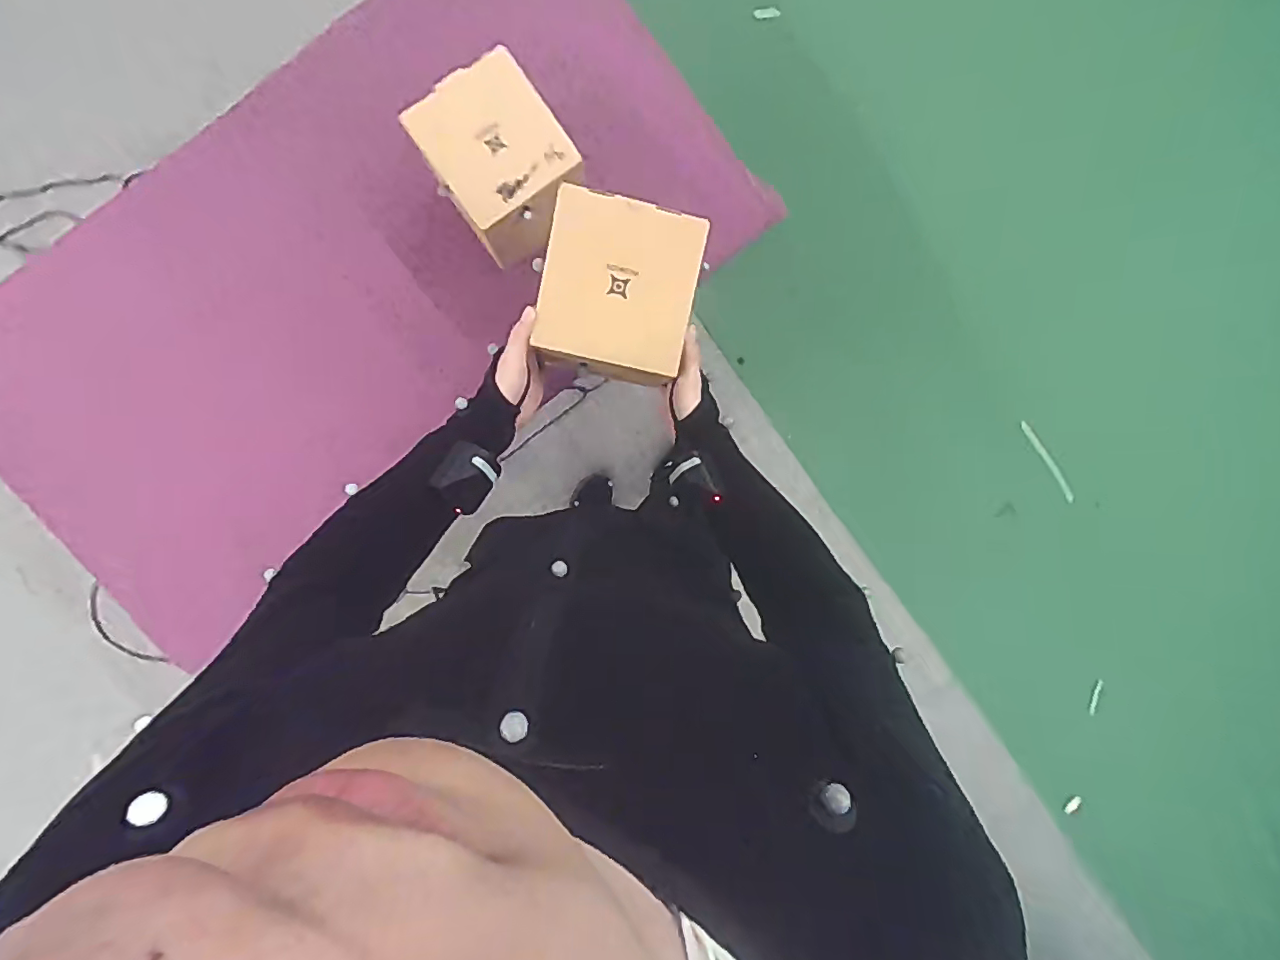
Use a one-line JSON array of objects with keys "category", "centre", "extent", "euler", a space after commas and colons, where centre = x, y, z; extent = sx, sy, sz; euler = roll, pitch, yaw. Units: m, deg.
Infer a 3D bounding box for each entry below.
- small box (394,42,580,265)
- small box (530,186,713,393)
[{"category": "small box", "centre": [-0.200, -0.441, 0.763], "extent": [0.168, 0.176, 0.179], "euler": [-36, 96, -1]}, {"category": "small box", "centre": [-0.025, -0.210, 0.651], "extent": [0.168, 0.176, 0.179], "euler": [12, 93, -7]}]
